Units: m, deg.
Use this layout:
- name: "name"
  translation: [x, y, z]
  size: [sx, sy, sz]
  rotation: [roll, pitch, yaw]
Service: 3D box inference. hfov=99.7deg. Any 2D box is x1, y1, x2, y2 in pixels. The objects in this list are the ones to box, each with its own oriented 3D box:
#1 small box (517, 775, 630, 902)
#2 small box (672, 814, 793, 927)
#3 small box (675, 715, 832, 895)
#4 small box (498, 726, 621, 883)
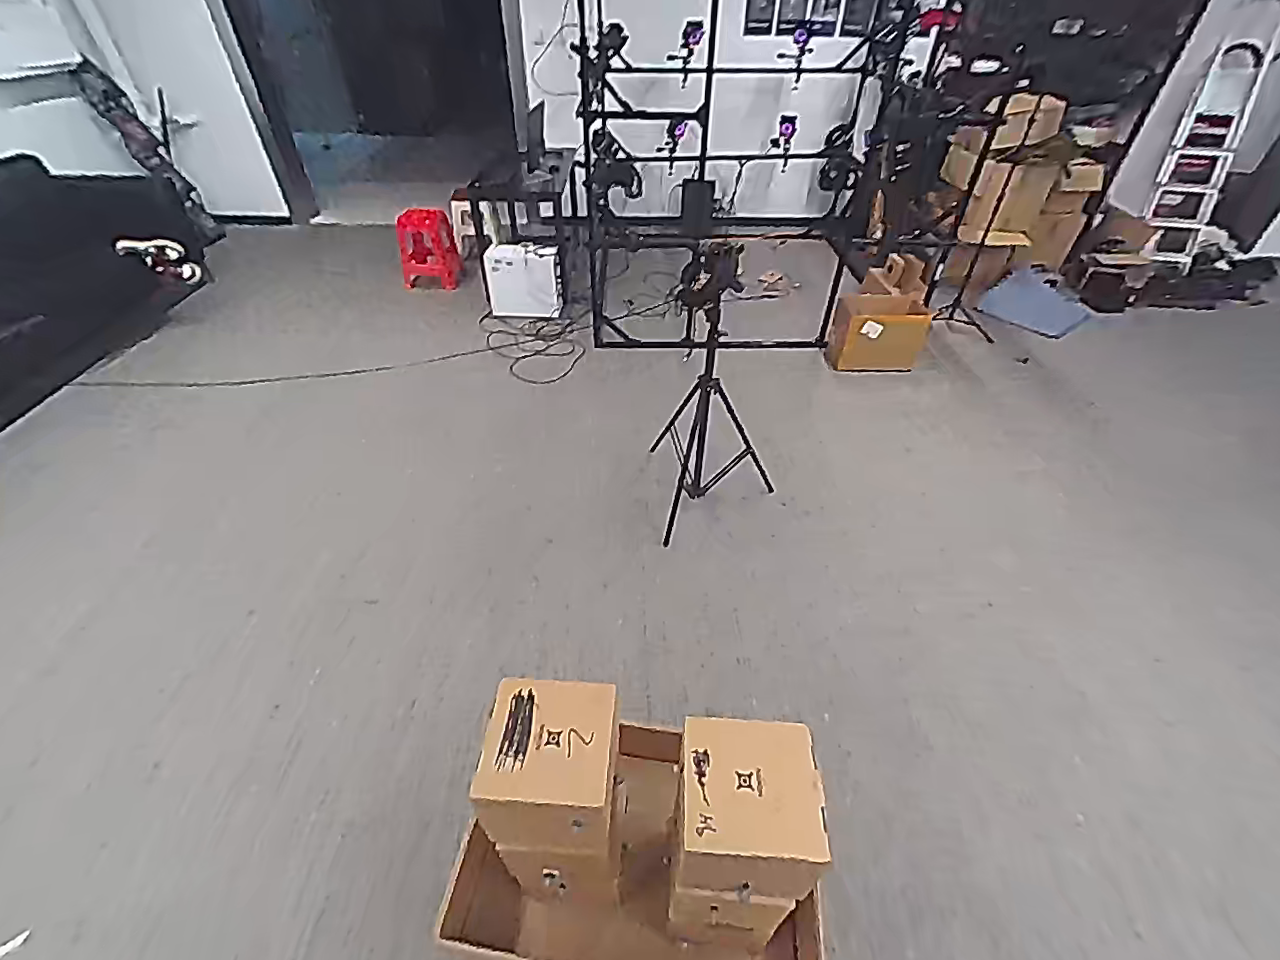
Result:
- name: "small box"
  translation: [-0.113, 0.658, 1.001]
  size: [0.179, 0.176, 0.168]
  rotation: [4, 42, 3]
- name: "small box"
  translation: [0.139, 0.575, 0.854]
  size: [0.168, 0.176, 0.179]
  rotation: [5, 41, 4]
- name: "small box"
  translation: [0.144, 0.451, 0.748]
  size: [0.179, 0.176, 0.168]
  rotation: [4, 41, 3]
- name: "small box"
  translation: [-0.121, 0.533, 0.893]
  size: [0.168, 0.176, 0.179]
  rotation: [1, 41, 3]
